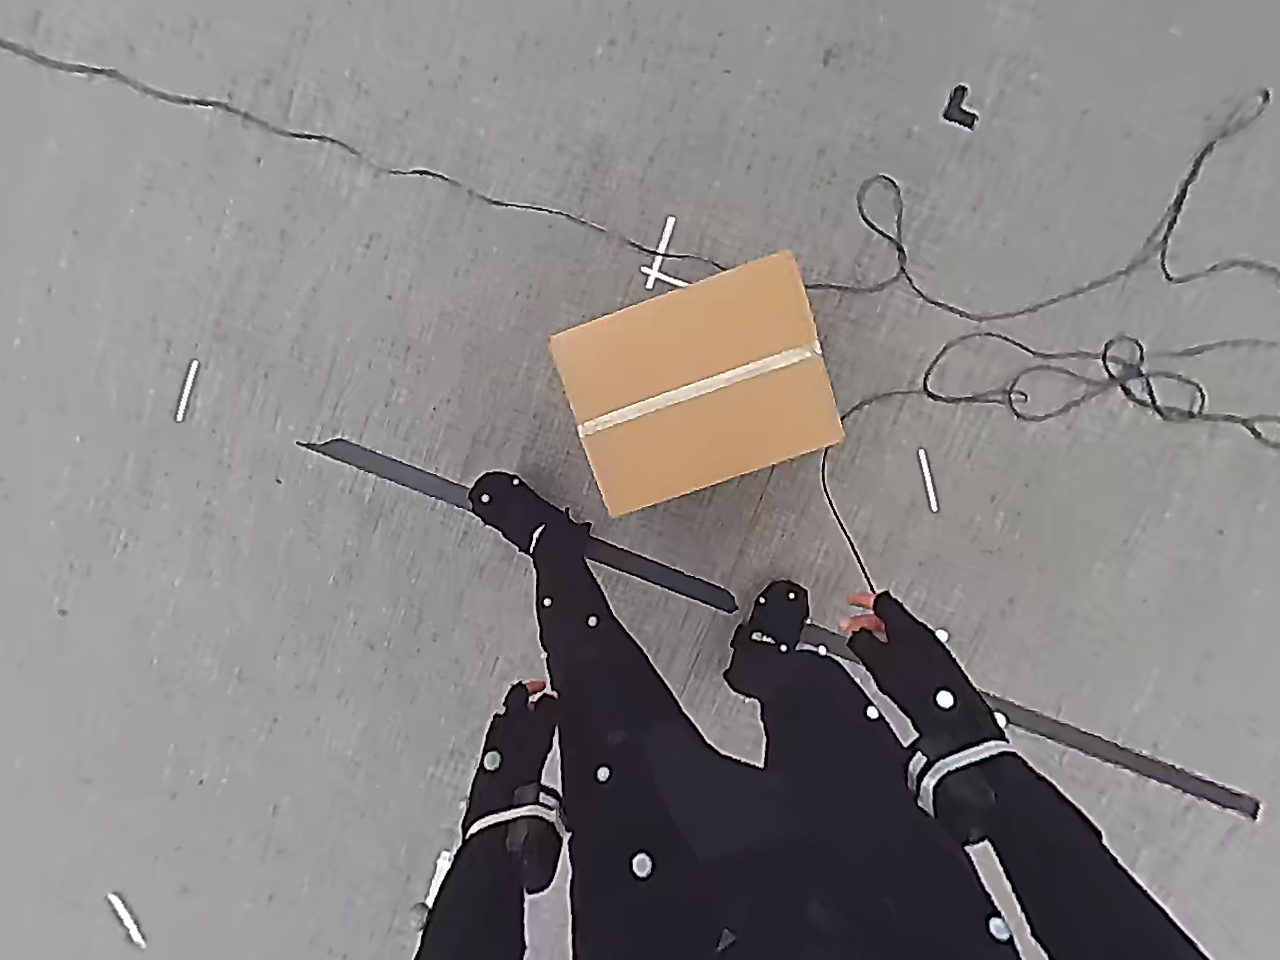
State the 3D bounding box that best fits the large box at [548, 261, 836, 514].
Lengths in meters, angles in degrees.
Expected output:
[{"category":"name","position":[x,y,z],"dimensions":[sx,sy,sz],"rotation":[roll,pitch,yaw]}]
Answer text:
[{"category":"large box","position":[0.089,-0.163,1.001],"dimensions":[0.408,0.320,0.320],"rotation":[-18,101,6]}]
